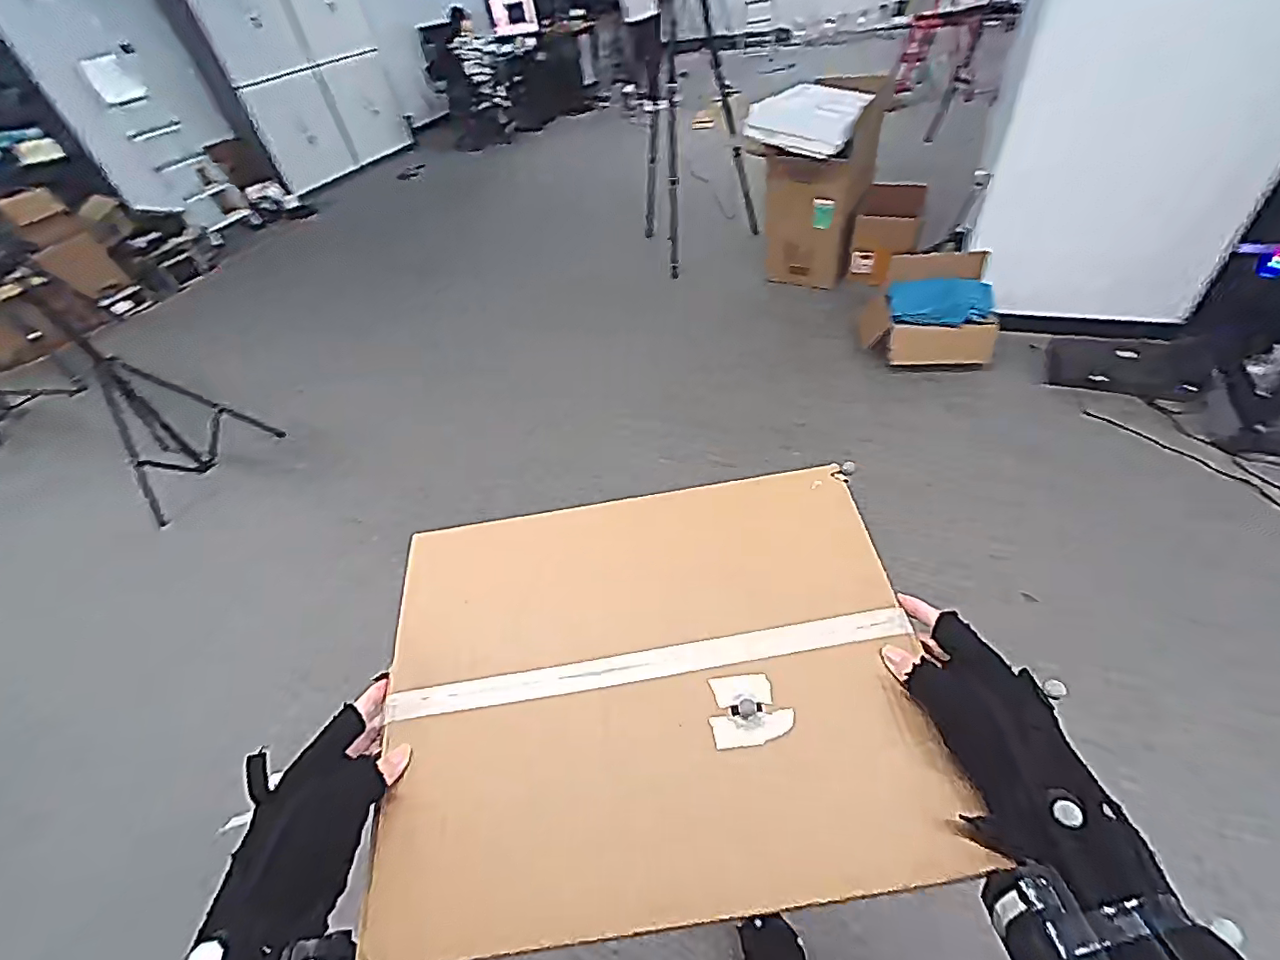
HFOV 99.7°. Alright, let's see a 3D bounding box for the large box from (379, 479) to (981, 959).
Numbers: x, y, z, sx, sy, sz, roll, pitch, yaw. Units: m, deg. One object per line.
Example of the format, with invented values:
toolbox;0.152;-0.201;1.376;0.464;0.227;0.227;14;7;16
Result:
large box;0.018;0.242;0.551;0.408;0.320;0.320;-10;54;0
